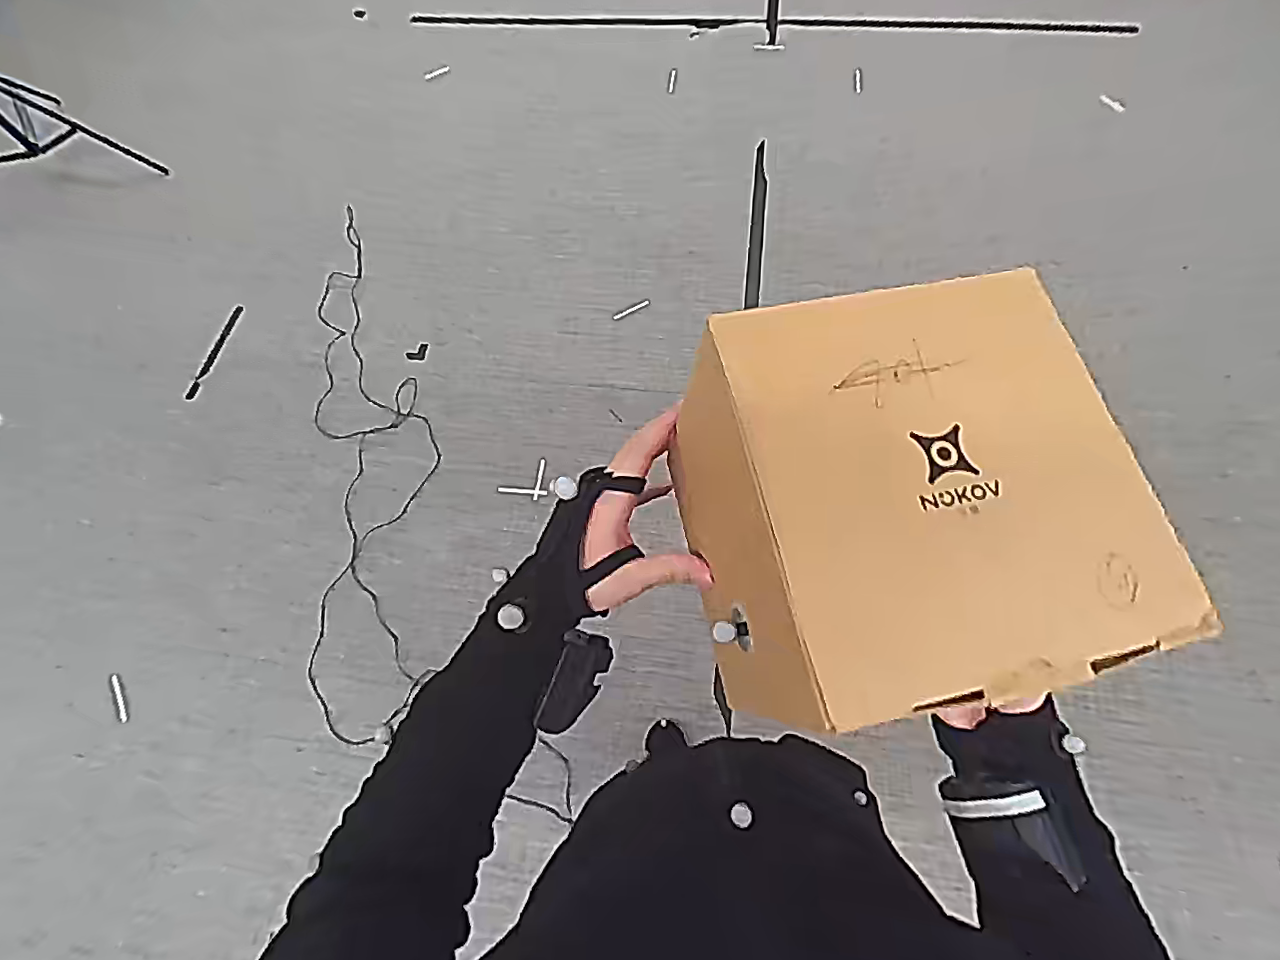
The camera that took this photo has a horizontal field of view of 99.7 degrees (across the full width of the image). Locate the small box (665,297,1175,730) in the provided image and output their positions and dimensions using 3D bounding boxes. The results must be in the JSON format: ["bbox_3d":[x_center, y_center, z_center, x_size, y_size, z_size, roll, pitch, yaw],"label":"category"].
[{"bbox_3d":[0.118,0.027,0.313,0.168,0.176,0.179,-10,70,-8],"label":"small box"}]
